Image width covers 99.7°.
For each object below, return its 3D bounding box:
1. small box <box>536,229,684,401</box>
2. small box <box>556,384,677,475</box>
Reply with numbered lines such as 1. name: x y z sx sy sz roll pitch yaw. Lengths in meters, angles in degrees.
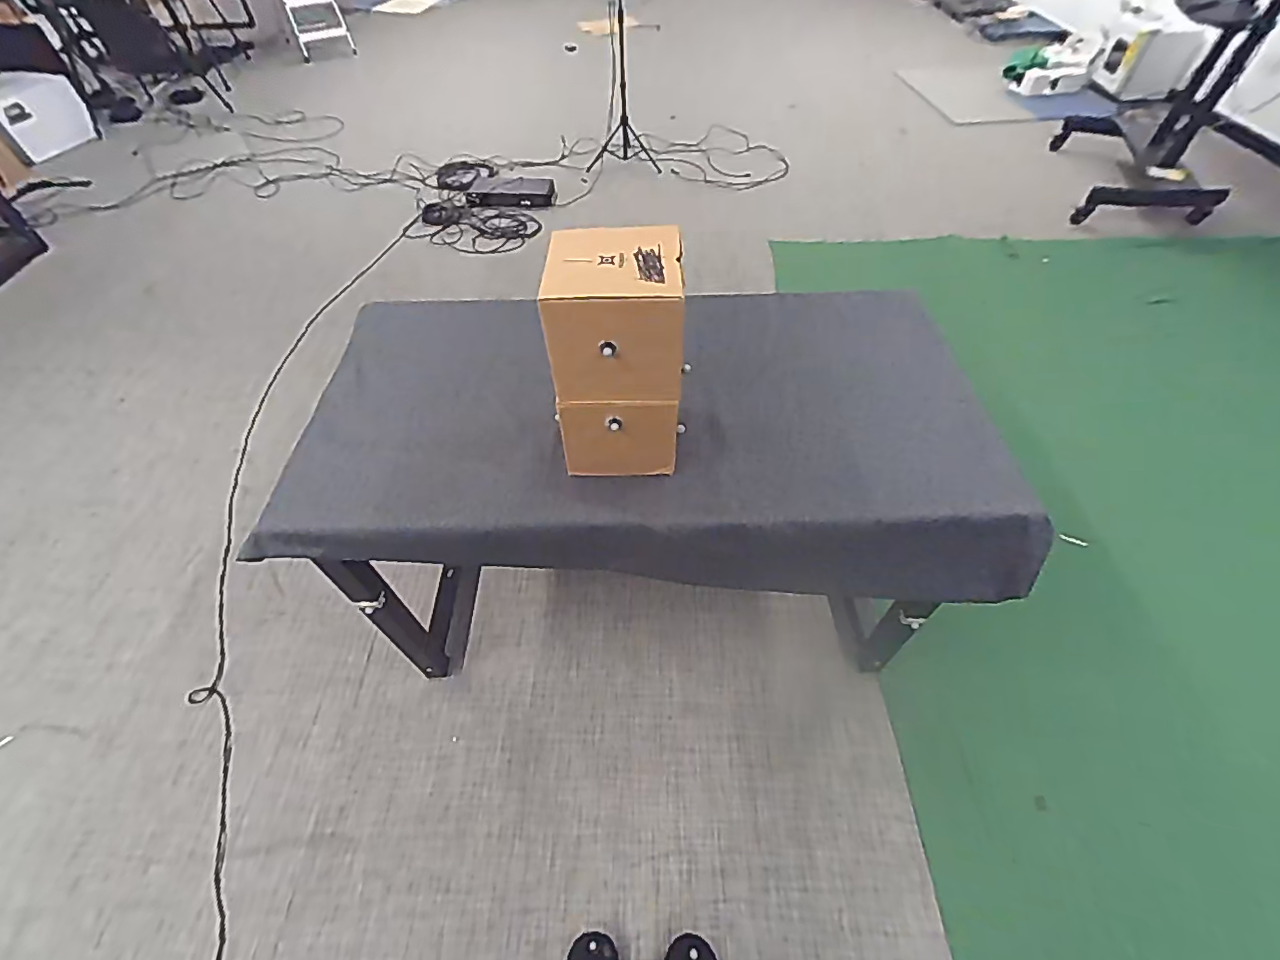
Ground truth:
1. small box: -0.032 -0.223 0.747 0.179 0.176 0.168 0 53 2
2. small box: -0.033 -0.120 0.876 0.179 0.176 0.168 0 53 0
